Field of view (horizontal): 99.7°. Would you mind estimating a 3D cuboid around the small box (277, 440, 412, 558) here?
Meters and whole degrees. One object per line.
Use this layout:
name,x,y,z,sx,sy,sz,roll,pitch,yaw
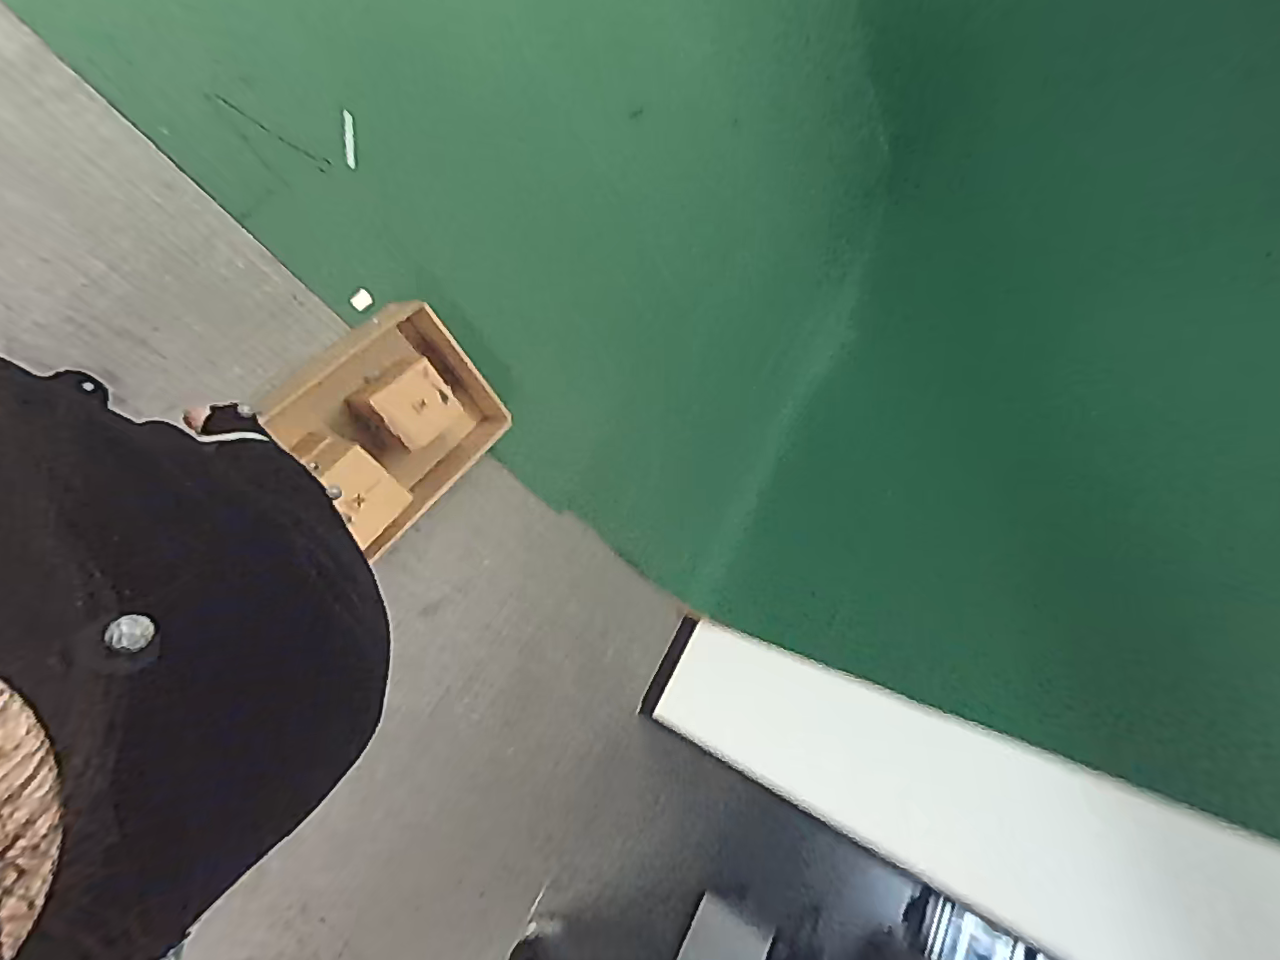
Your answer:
small box,-0.630,0.034,1.147,0.179,0.176,0.168,-53,130,-25
